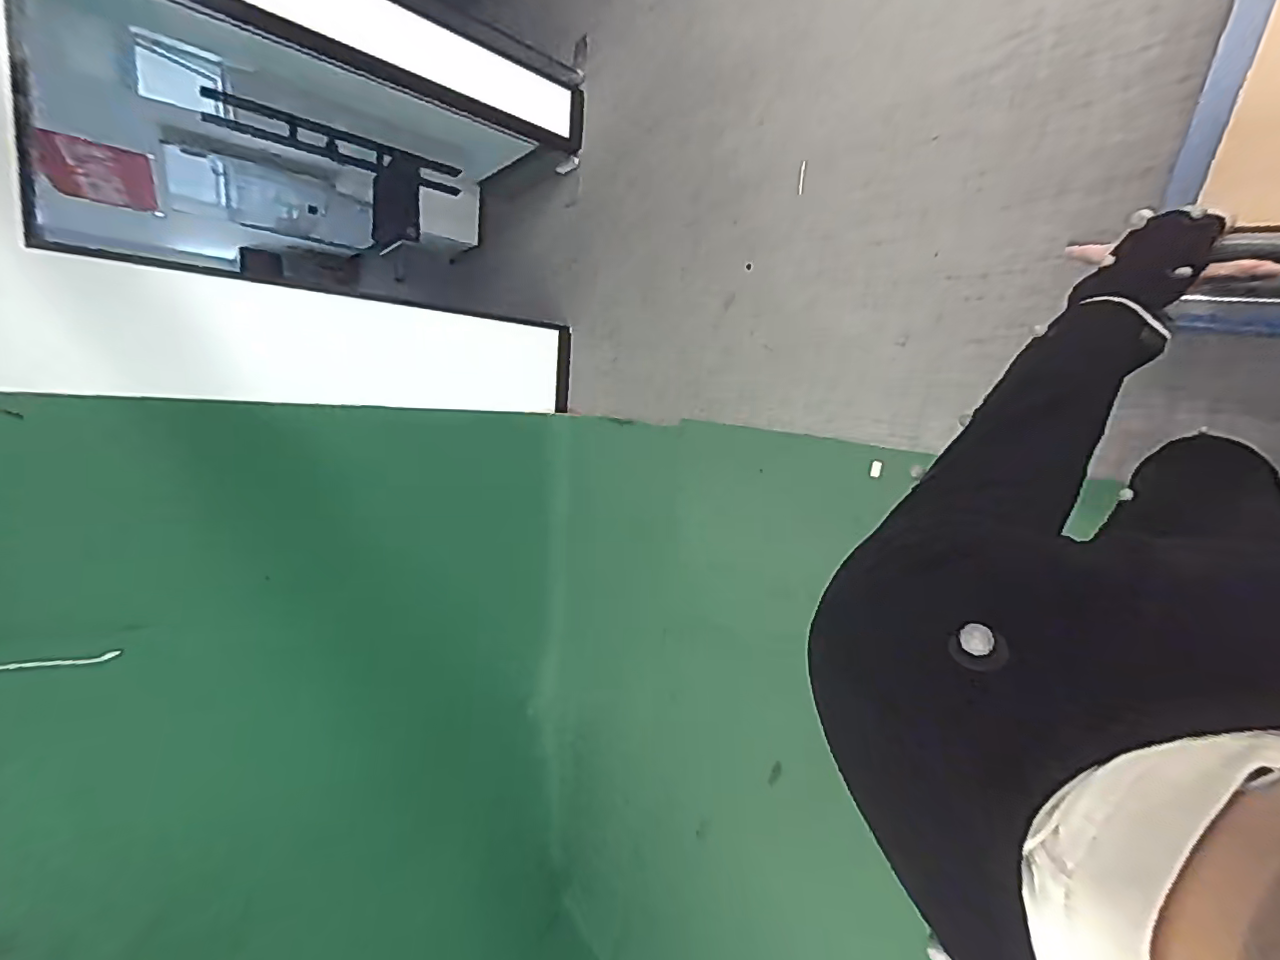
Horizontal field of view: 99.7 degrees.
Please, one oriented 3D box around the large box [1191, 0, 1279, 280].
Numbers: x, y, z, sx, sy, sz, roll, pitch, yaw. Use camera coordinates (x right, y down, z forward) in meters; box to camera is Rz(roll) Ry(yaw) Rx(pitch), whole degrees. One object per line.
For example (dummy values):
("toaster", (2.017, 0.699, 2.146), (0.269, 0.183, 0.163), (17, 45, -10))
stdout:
("large box", (1.085, -0.529, 0.774), (0.320, 0.320, 0.408), (24, 108, 46))
